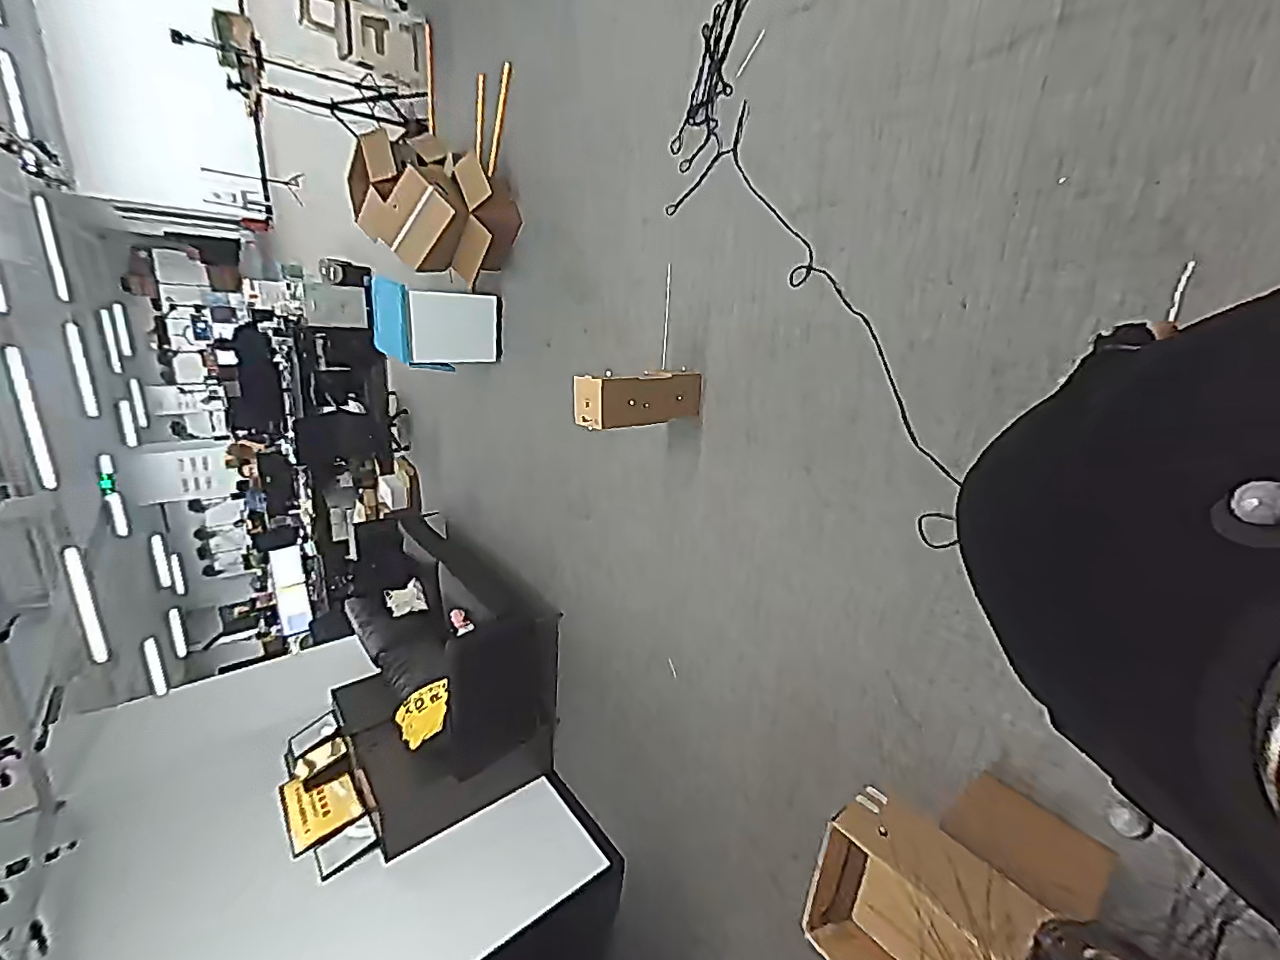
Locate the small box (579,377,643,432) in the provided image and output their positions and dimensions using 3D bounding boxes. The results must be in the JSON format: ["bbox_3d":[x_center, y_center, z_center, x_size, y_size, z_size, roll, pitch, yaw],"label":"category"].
[{"bbox_3d":[-0.104,-0.276,1.938,0.168,0.176,0.179,20,113,48],"label":"small box"}]

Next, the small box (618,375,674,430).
[{"bbox_3d":[0.013,-0.299,2.051,0.168,0.176,0.179,22,115,46],"label":"small box"}]

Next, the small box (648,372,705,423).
[{"bbox_3d":[0.142,-0.332,2.148,0.168,0.176,0.179,22,115,47],"label":"small box"}]
